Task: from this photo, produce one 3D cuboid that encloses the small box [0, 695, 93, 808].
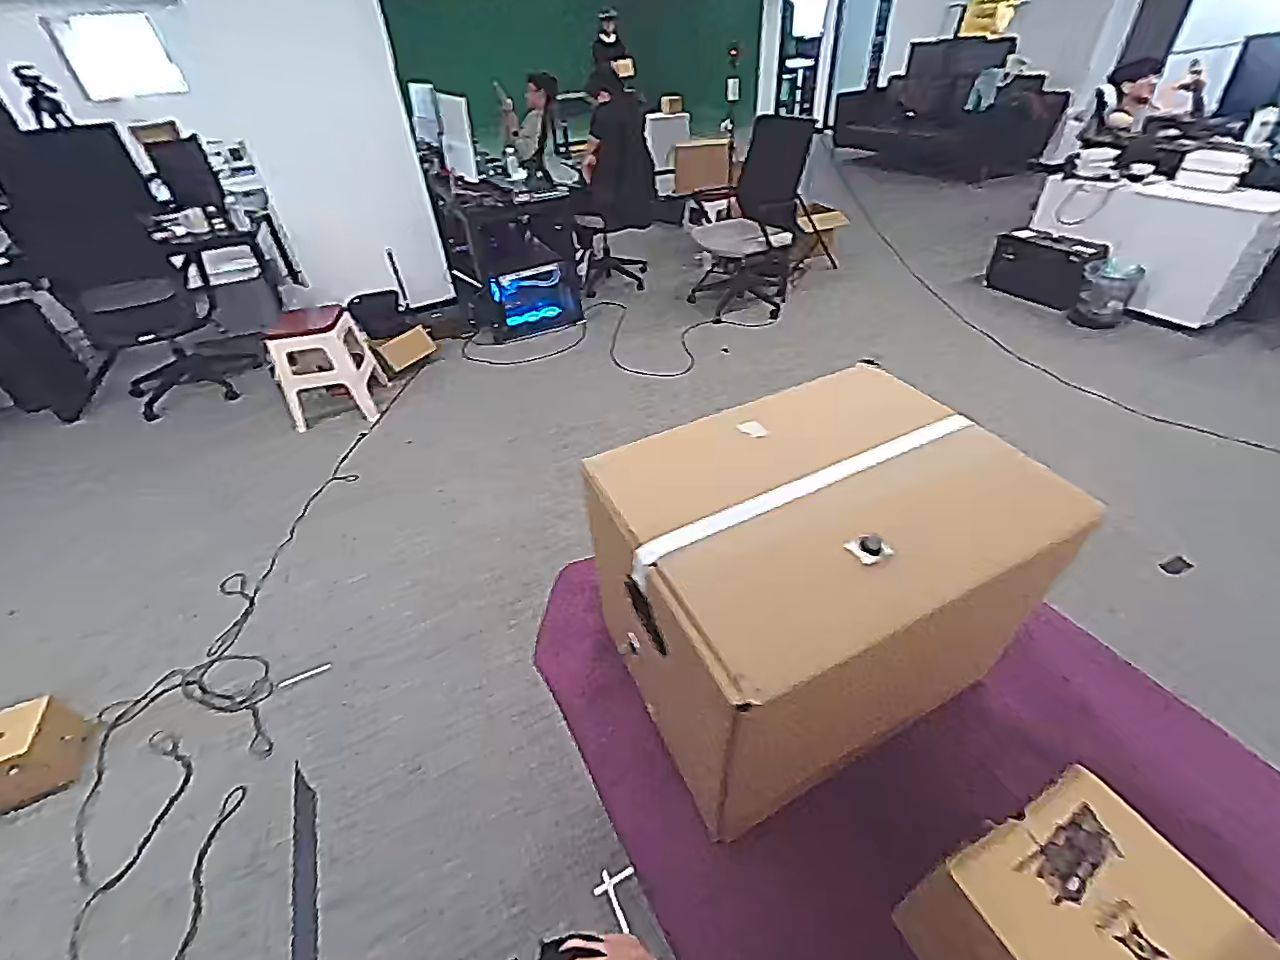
[{"bbox_3d":[-1.558,0.686,1.366,0.179,0.176,0.168,-20,41,-16],"label":"small box"}]
